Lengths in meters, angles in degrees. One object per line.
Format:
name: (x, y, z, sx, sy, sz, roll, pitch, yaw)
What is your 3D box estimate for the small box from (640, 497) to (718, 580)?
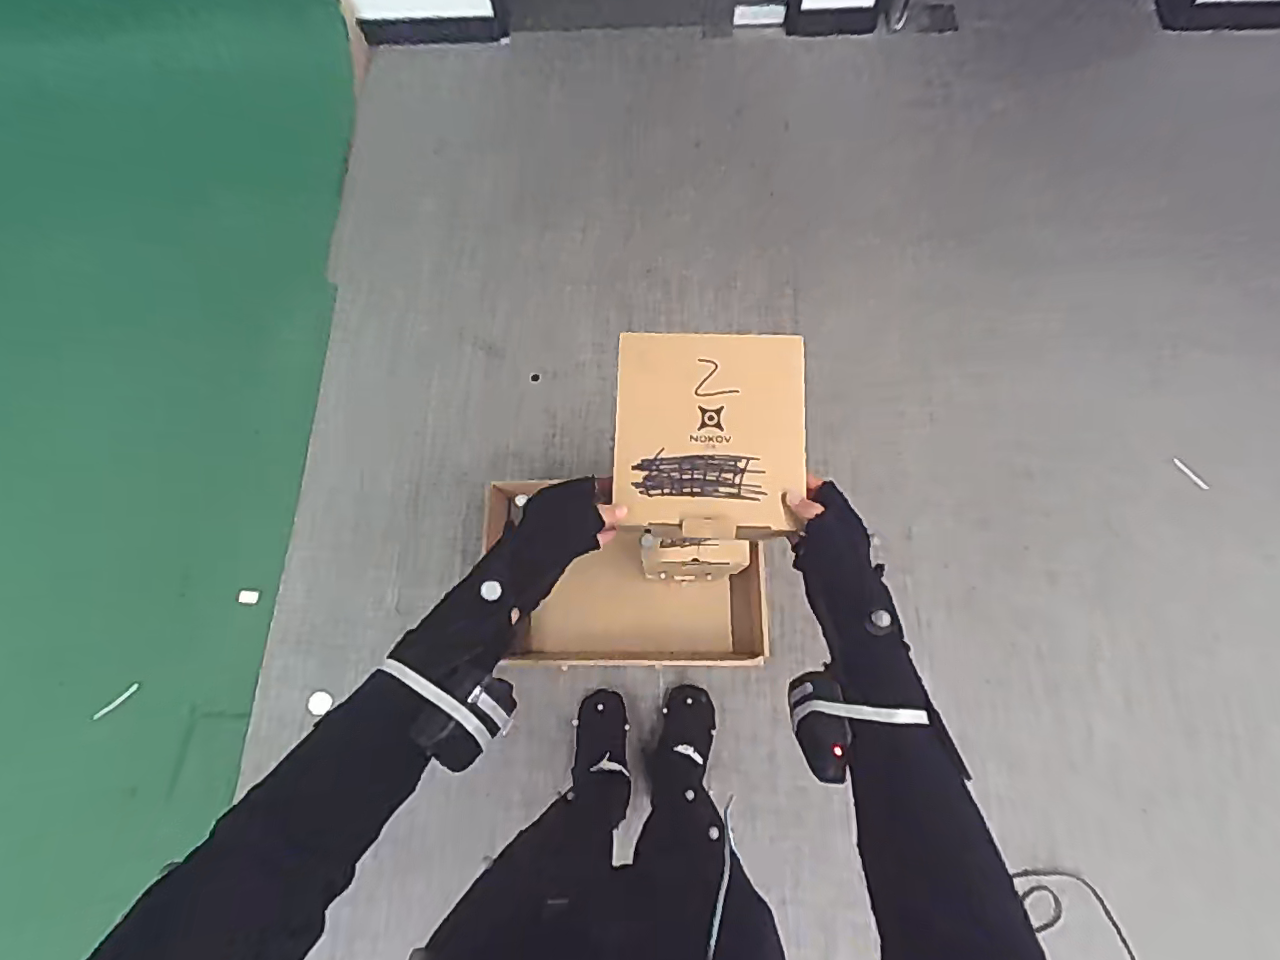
small box: (0.092, 0.134, 1.230, 0.168, 0.176, 0.179, -5, 75, 3)

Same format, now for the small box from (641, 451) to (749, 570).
small box: (0.089, 0.058, 0.909, 0.168, 0.176, 0.179, 1, 76, 2)
